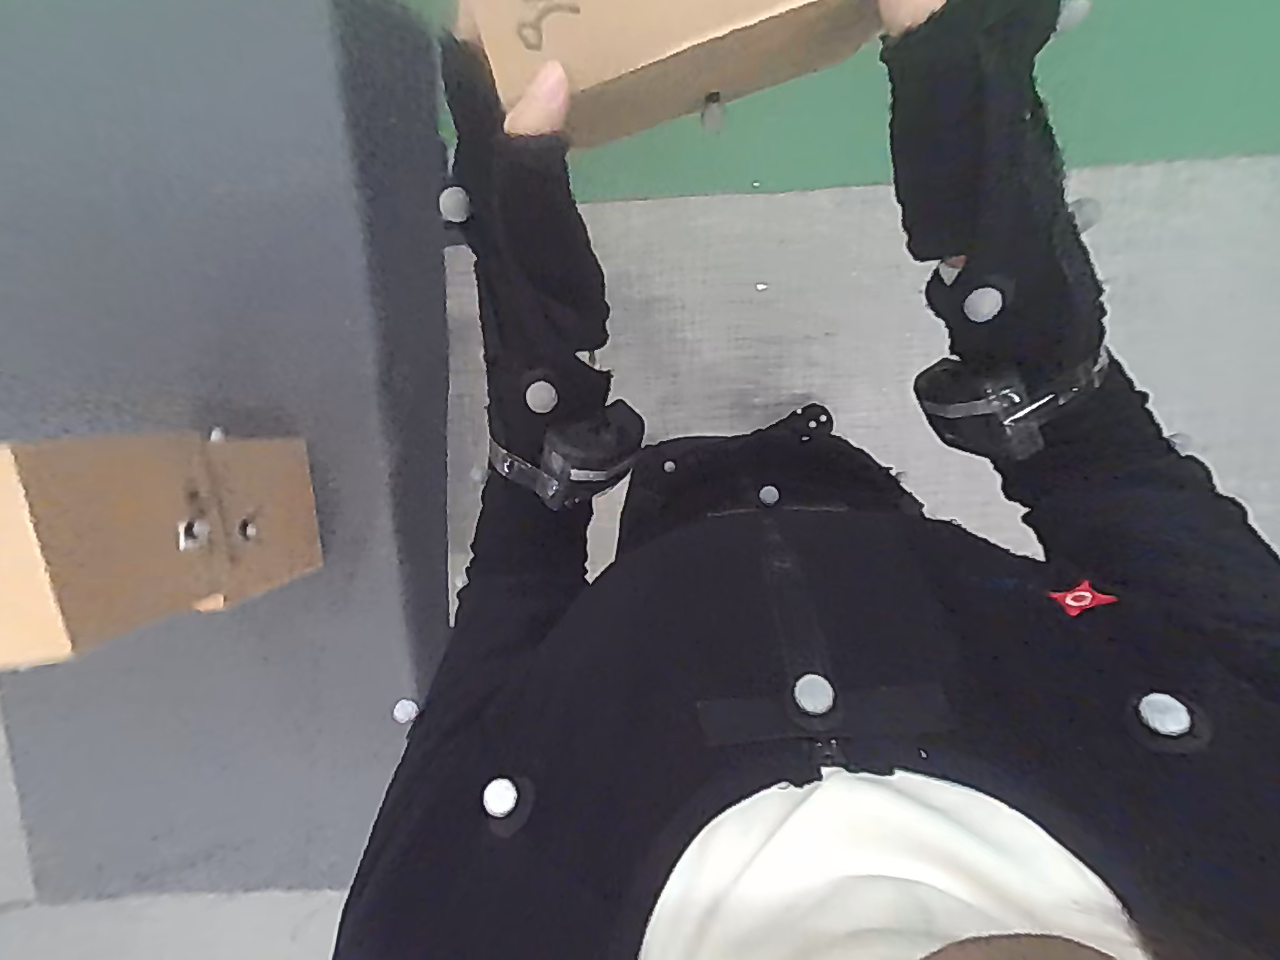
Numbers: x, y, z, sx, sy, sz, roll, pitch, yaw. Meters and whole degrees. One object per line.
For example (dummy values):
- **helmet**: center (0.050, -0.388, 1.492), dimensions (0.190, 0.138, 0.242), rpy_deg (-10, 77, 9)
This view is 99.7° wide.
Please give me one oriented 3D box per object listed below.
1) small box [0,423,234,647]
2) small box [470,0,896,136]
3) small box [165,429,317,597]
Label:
- **small box**: center (-0.530, 0.043, 0.494), dimensions (0.179, 0.176, 0.168), rpy_deg (-9, 98, 3)
- **small box**: center (0.014, -0.273, 0.236), dimensions (0.179, 0.176, 0.168), rpy_deg (-11, 115, 11)
- **small box**: center (-0.526, 0.032, 0.656), dimensions (0.168, 0.176, 0.179), rpy_deg (-4, 96, 4)
